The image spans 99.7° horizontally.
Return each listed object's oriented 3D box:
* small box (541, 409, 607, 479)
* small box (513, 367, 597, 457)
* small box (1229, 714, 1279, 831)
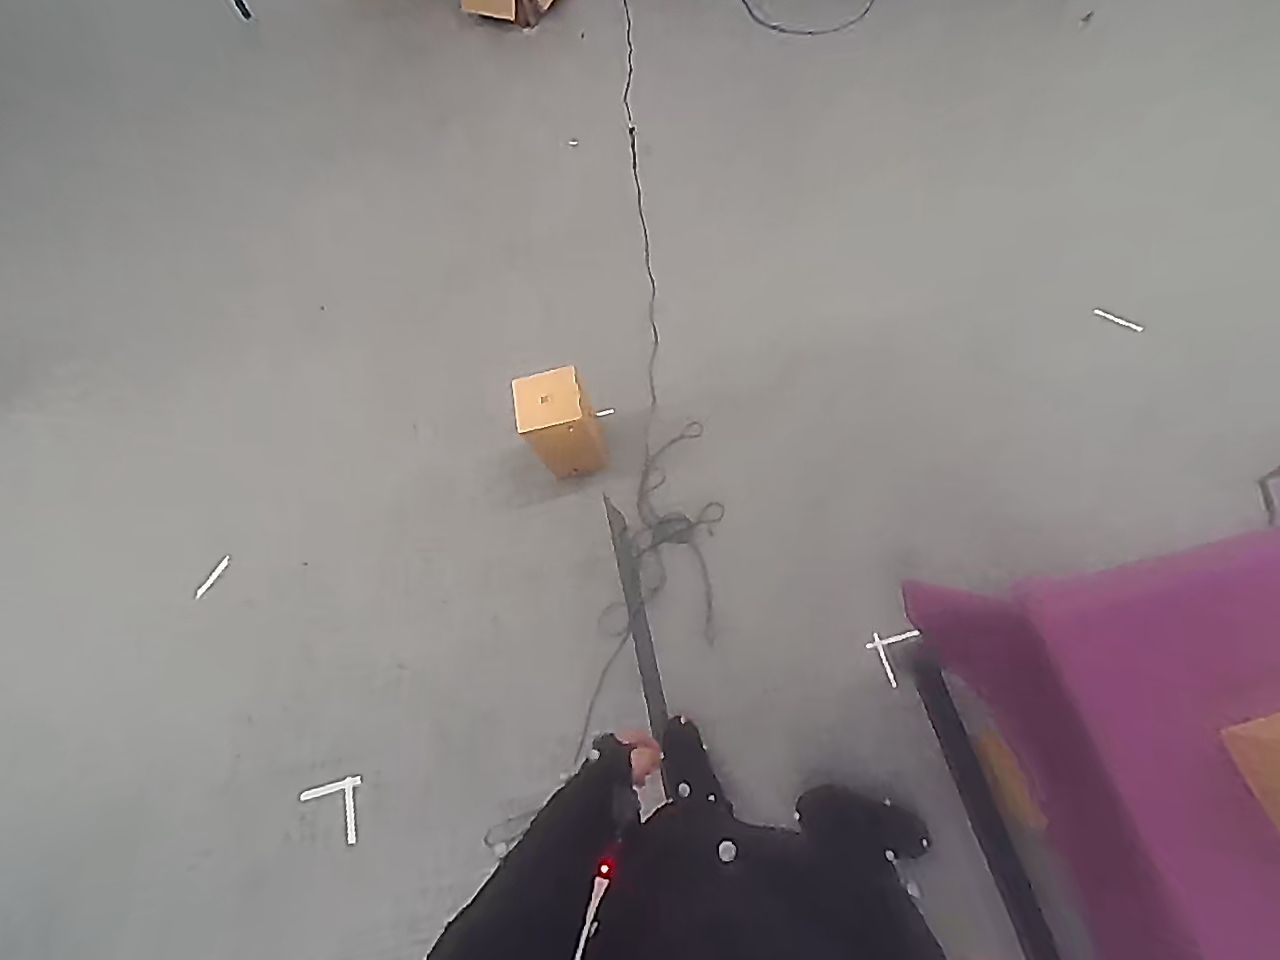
[{"bbox_3d":[-0.207,-0.125,1.635,0.168,0.176,0.179,-15,69,4],"label":"small box"},{"bbox_3d":[-0.229,-0.179,1.484,0.179,0.176,0.168,-13,68,4],"label":"small box"},{"bbox_3d":[0.790,0.322,0.544,0.179,0.176,0.168,-17,69,1],"label":"small box"}]
